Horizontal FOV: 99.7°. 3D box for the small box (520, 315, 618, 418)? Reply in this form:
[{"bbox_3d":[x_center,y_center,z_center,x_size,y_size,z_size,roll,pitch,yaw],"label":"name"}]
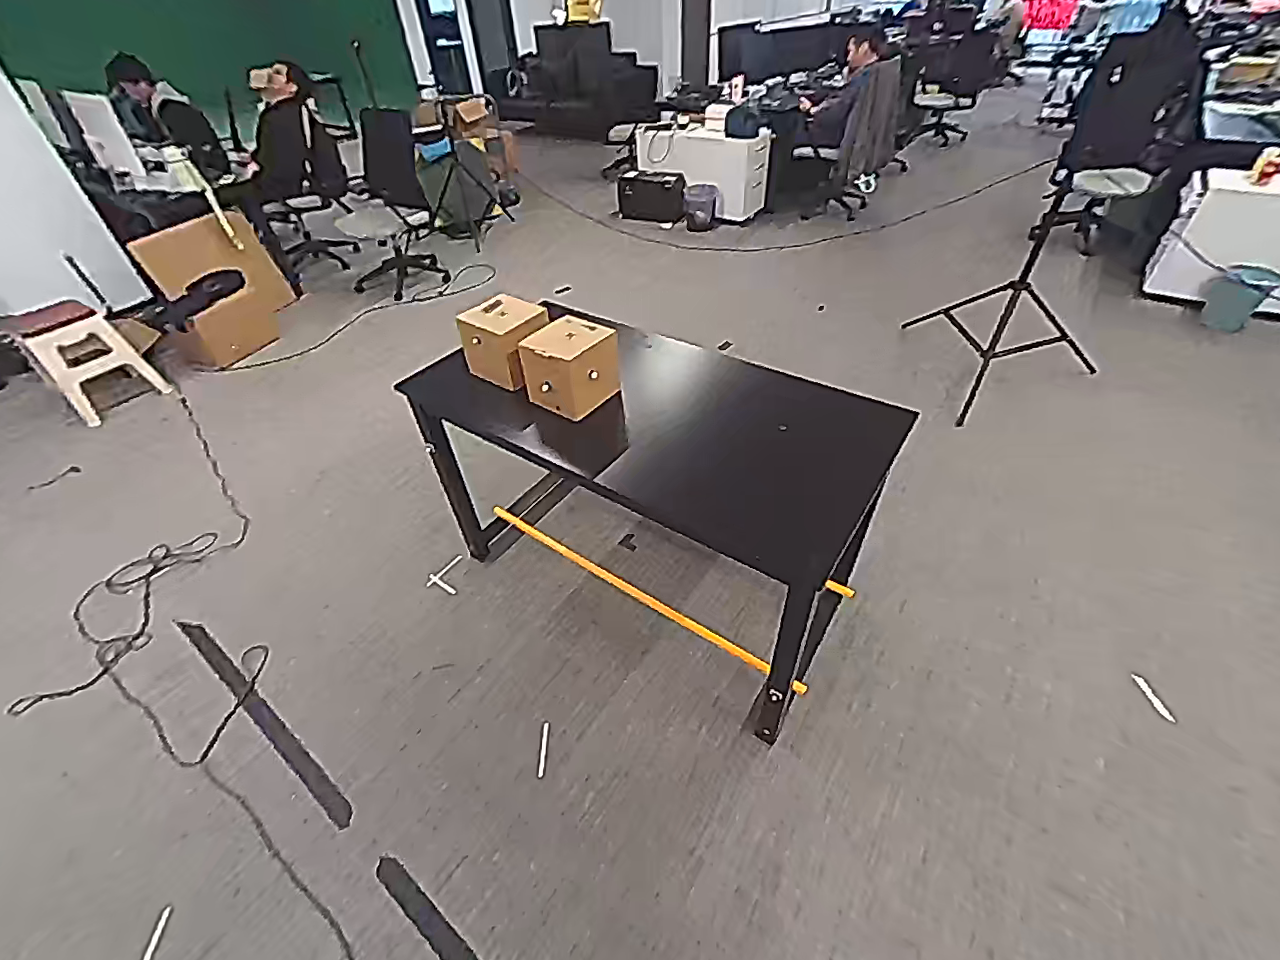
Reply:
[{"bbox_3d":[-0.166,-0.280,1.341,0.168,0.176,0.179,26,50,26],"label":"small box"}]

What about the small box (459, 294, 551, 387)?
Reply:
[{"bbox_3d":[-0.349,-0.373,1.450,0.179,0.176,0.168,26,50,26],"label":"small box"}]
